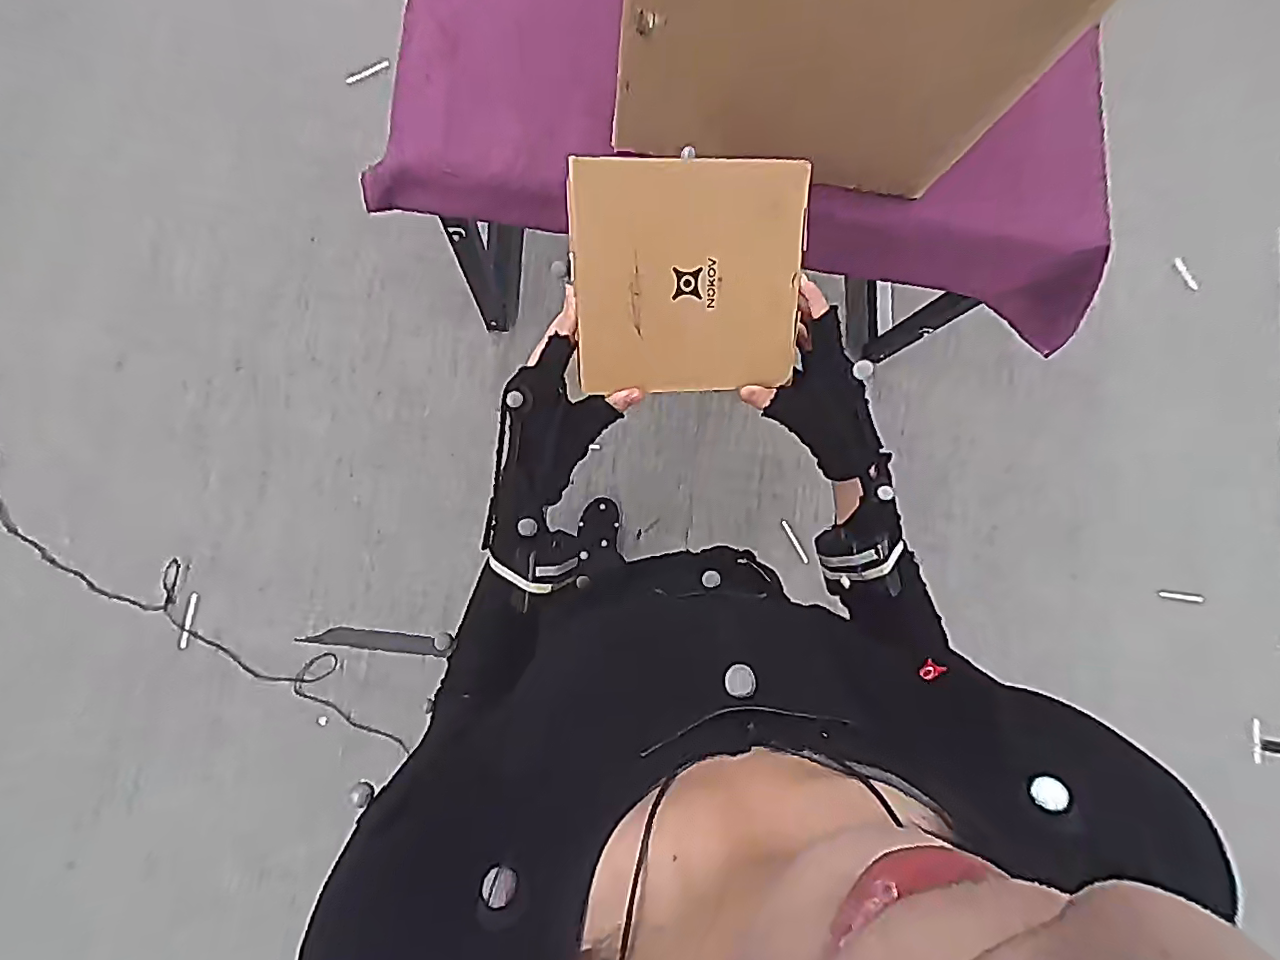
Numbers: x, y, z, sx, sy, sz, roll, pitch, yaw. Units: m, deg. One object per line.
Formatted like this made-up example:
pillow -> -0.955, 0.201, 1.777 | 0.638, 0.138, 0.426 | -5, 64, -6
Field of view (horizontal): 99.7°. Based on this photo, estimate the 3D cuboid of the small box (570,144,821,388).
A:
small box -> 0.032, -0.179, 0.471 | 0.179, 0.176, 0.168 | -4, 110, -7
